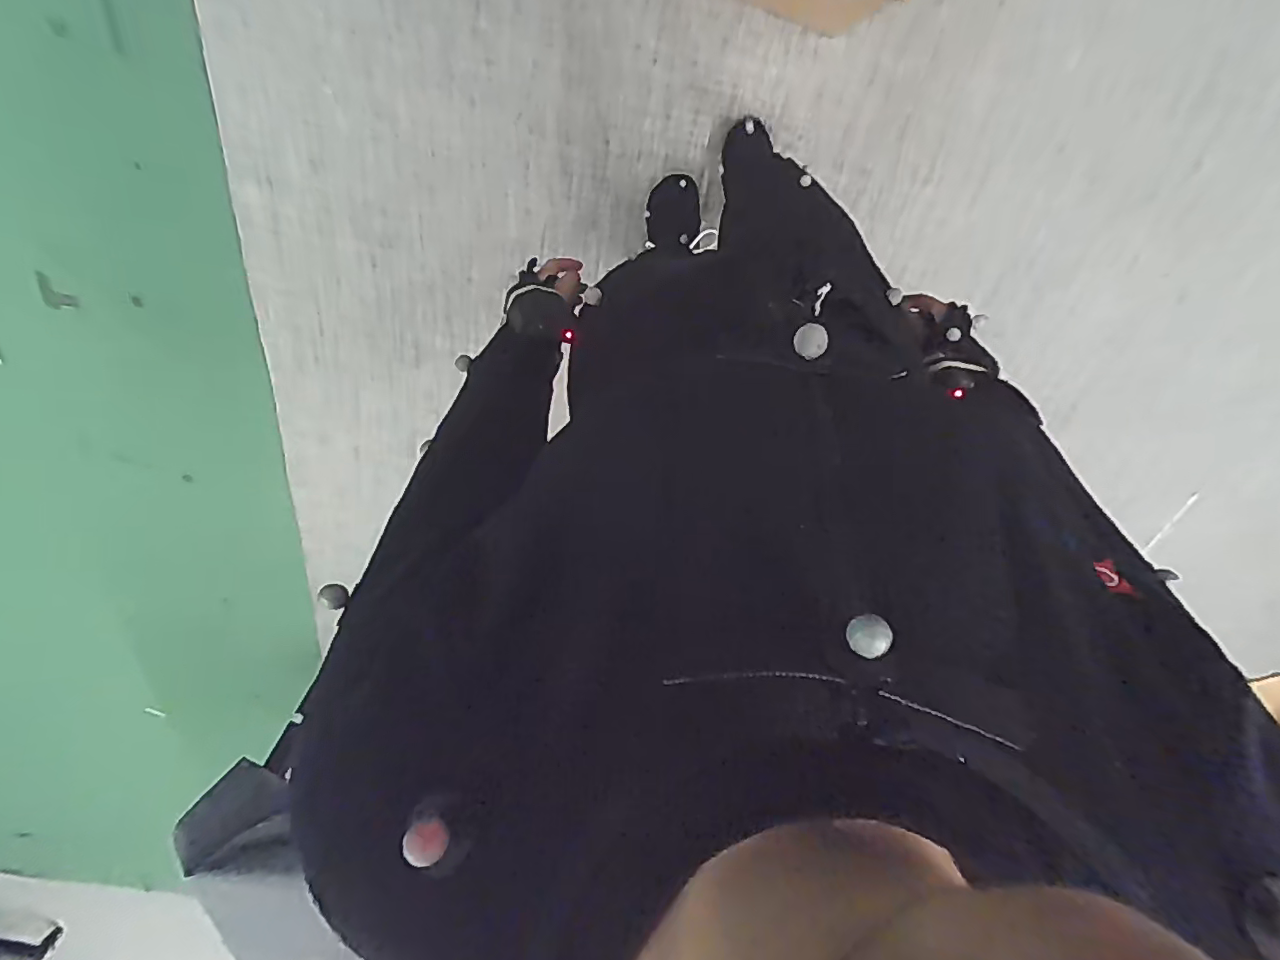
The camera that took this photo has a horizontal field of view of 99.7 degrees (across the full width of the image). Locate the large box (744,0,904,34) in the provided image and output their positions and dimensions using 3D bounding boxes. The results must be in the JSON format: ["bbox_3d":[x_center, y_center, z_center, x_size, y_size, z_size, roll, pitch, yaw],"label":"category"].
[{"bbox_3d":[0.216,-0.902,0.759,0.408,0.320,0.320,13,122,-9],"label":"large box"}]
